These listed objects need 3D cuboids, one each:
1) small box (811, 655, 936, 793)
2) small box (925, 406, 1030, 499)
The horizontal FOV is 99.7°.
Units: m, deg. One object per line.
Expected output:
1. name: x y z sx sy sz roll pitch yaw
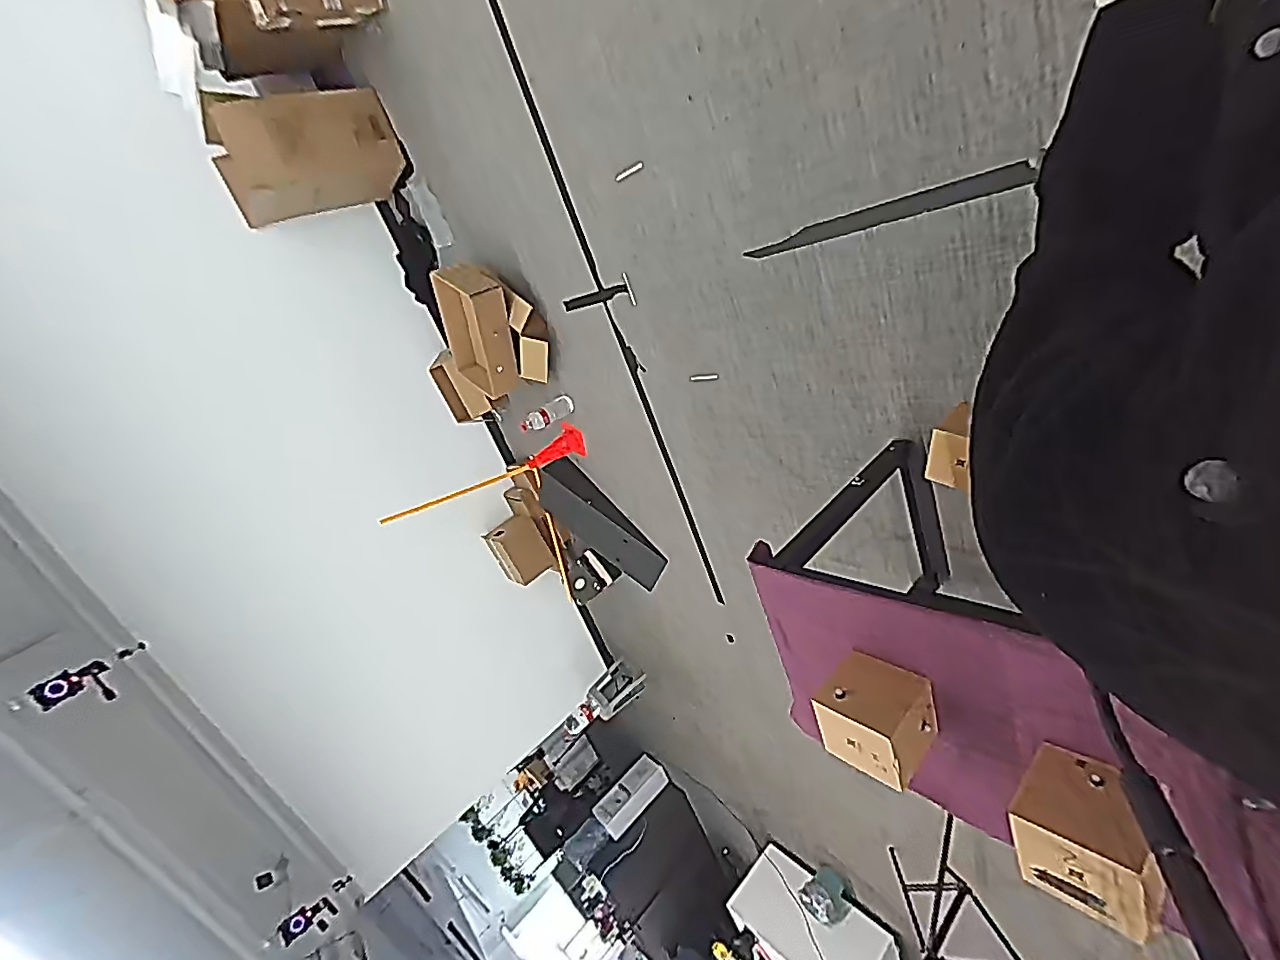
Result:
1. small box: 0.495 0.501 1.142 0.179 0.176 0.168 10 129 50
2. small box: 0.902 -0.082 1.449 0.179 0.176 0.168 25 138 40
